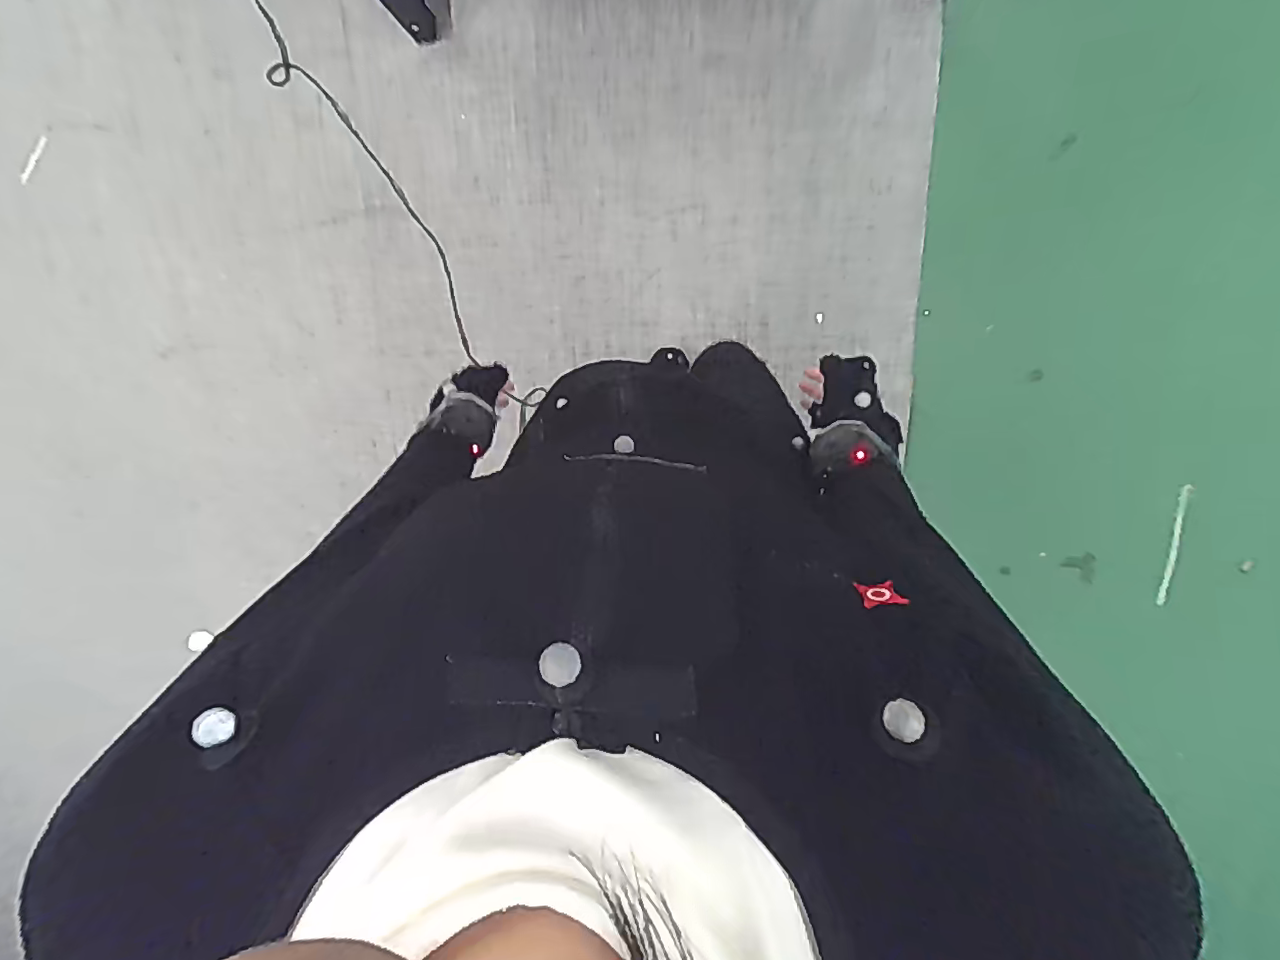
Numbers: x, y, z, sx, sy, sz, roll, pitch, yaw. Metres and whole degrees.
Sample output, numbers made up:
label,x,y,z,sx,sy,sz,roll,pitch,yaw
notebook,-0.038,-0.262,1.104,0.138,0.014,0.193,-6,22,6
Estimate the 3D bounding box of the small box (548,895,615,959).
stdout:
label,x,y,z,sx,sy,sz,roll,pitch,yaw
small box,-0.178,1.448,1.699,0.179,0.176,0.168,-2,102,5
